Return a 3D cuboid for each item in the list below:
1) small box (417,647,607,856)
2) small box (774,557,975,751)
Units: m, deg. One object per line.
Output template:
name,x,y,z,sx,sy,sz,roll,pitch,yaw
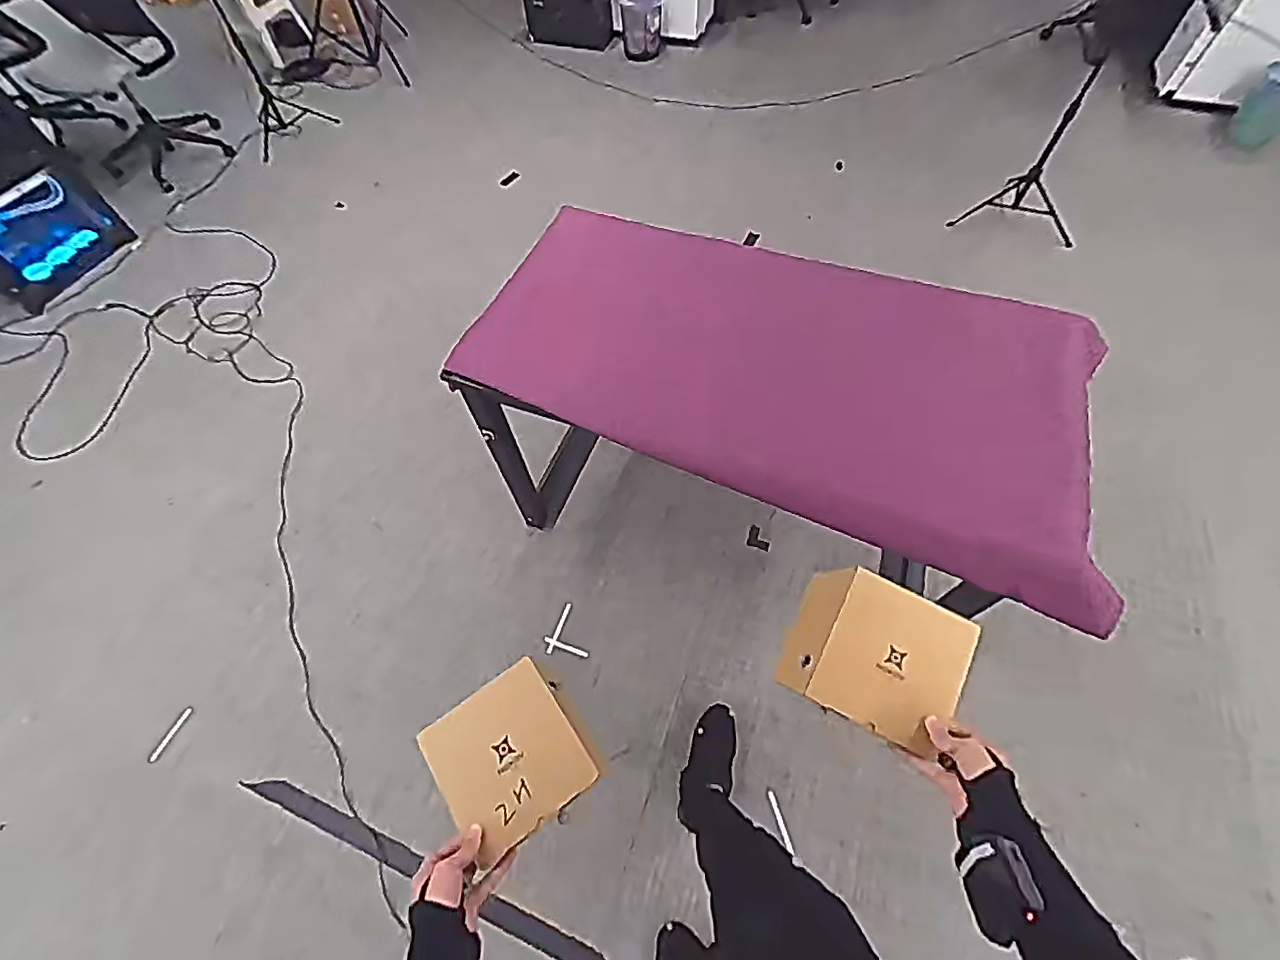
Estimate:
small box,-0.161,0.355,0.727,0.168,0.176,0.179,-34,69,-12
small box,0.300,0.223,0.729,0.168,0.176,0.179,27,79,5
